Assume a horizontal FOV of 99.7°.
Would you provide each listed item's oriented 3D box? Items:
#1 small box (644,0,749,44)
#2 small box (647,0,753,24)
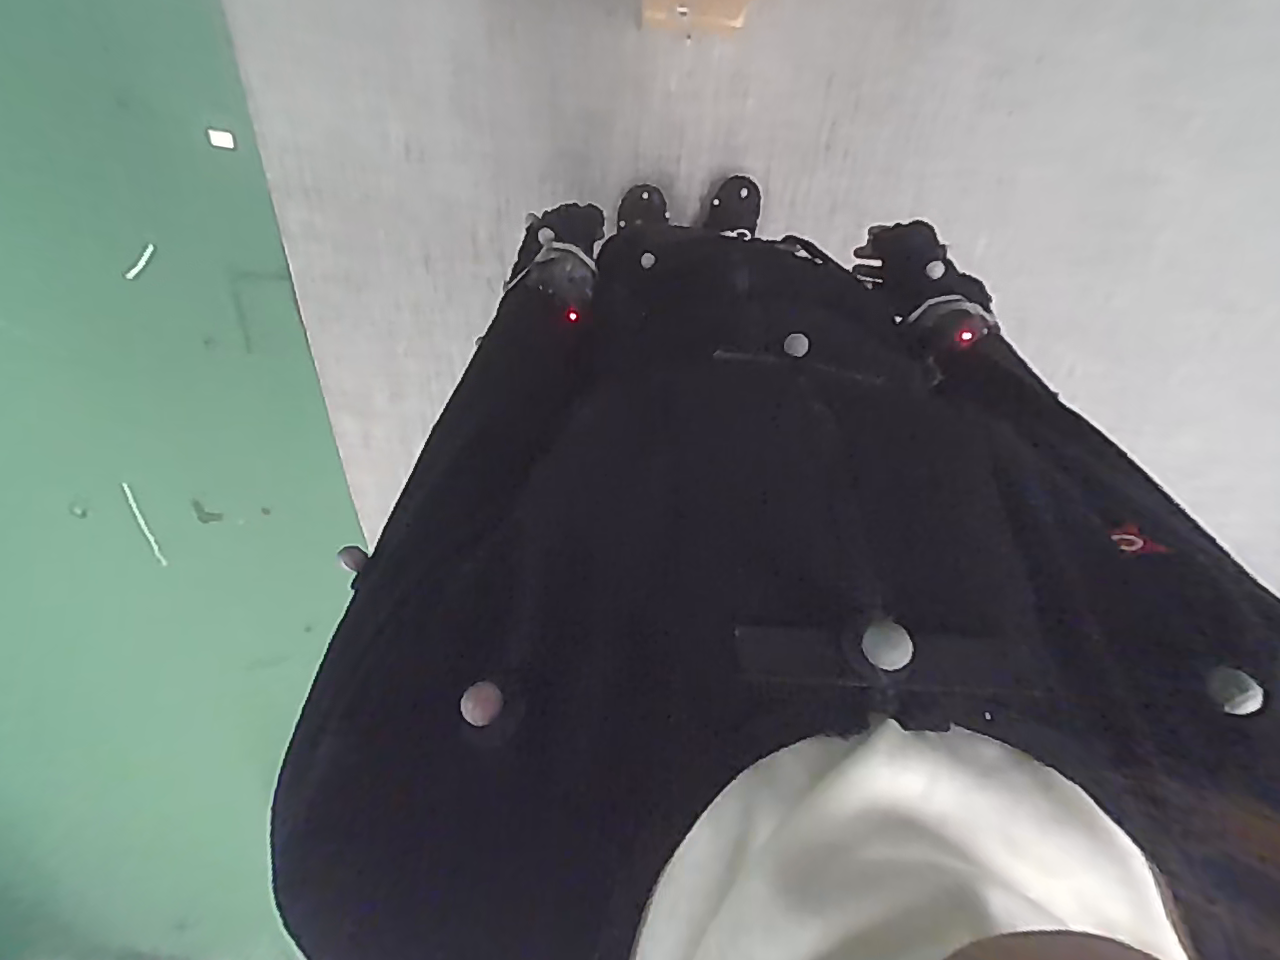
[{"bbox_3d":[0.101,-0.888,0.948,0.179,0.176,0.168,4,121,-2],"label":"small box"},{"bbox_3d":[0.094,-0.813,0.803,0.168,0.176,0.179,5,122,0],"label":"small box"}]
